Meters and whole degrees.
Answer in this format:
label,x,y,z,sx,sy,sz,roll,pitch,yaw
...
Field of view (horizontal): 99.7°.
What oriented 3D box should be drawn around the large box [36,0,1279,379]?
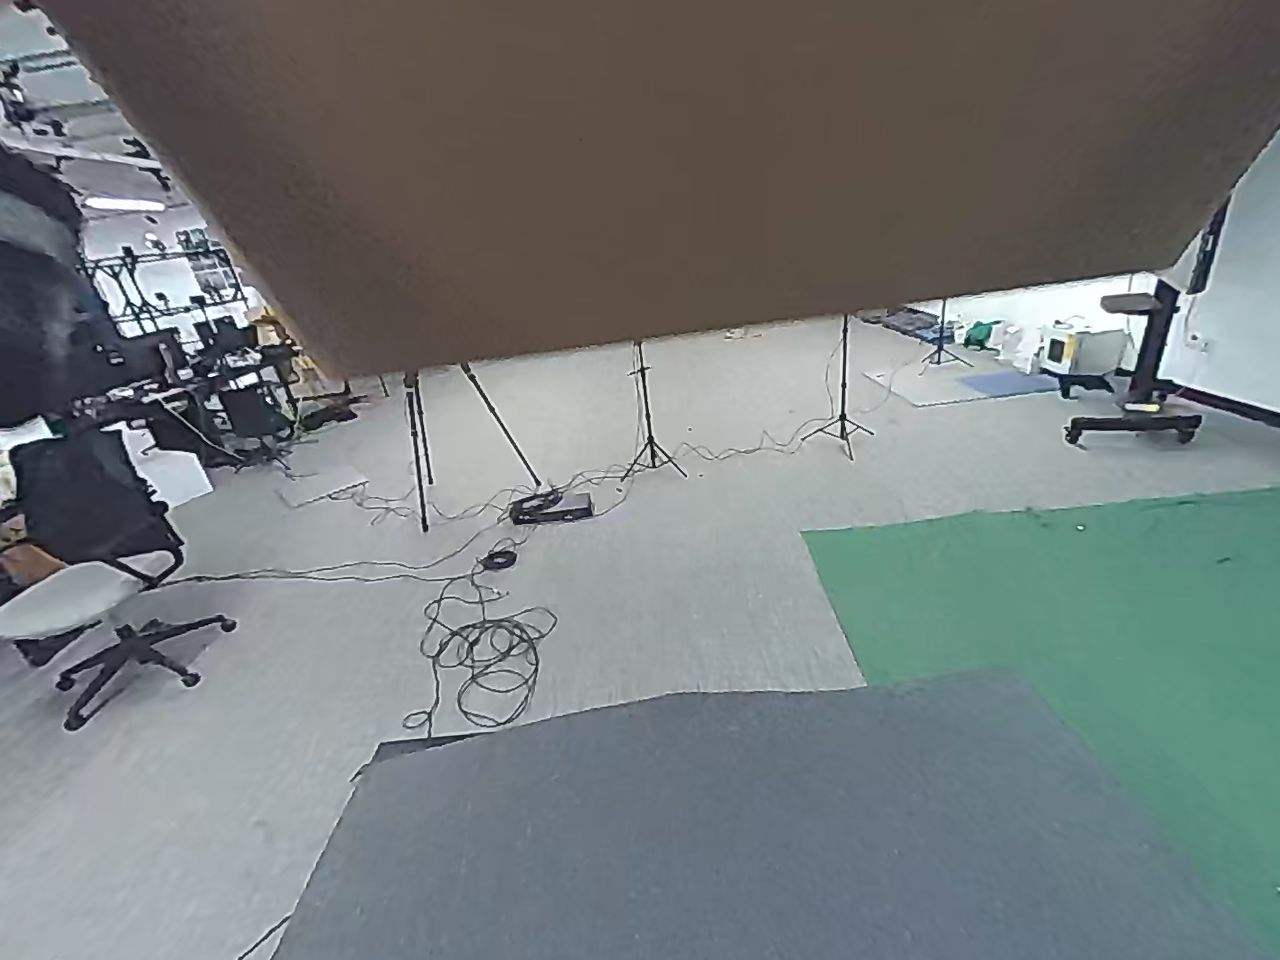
label,x,y,z,sx,sy,sz,roll,pitch,yaw
large box,0.012,-0.279,0.230,0.408,0.320,0.320,-7,55,1
